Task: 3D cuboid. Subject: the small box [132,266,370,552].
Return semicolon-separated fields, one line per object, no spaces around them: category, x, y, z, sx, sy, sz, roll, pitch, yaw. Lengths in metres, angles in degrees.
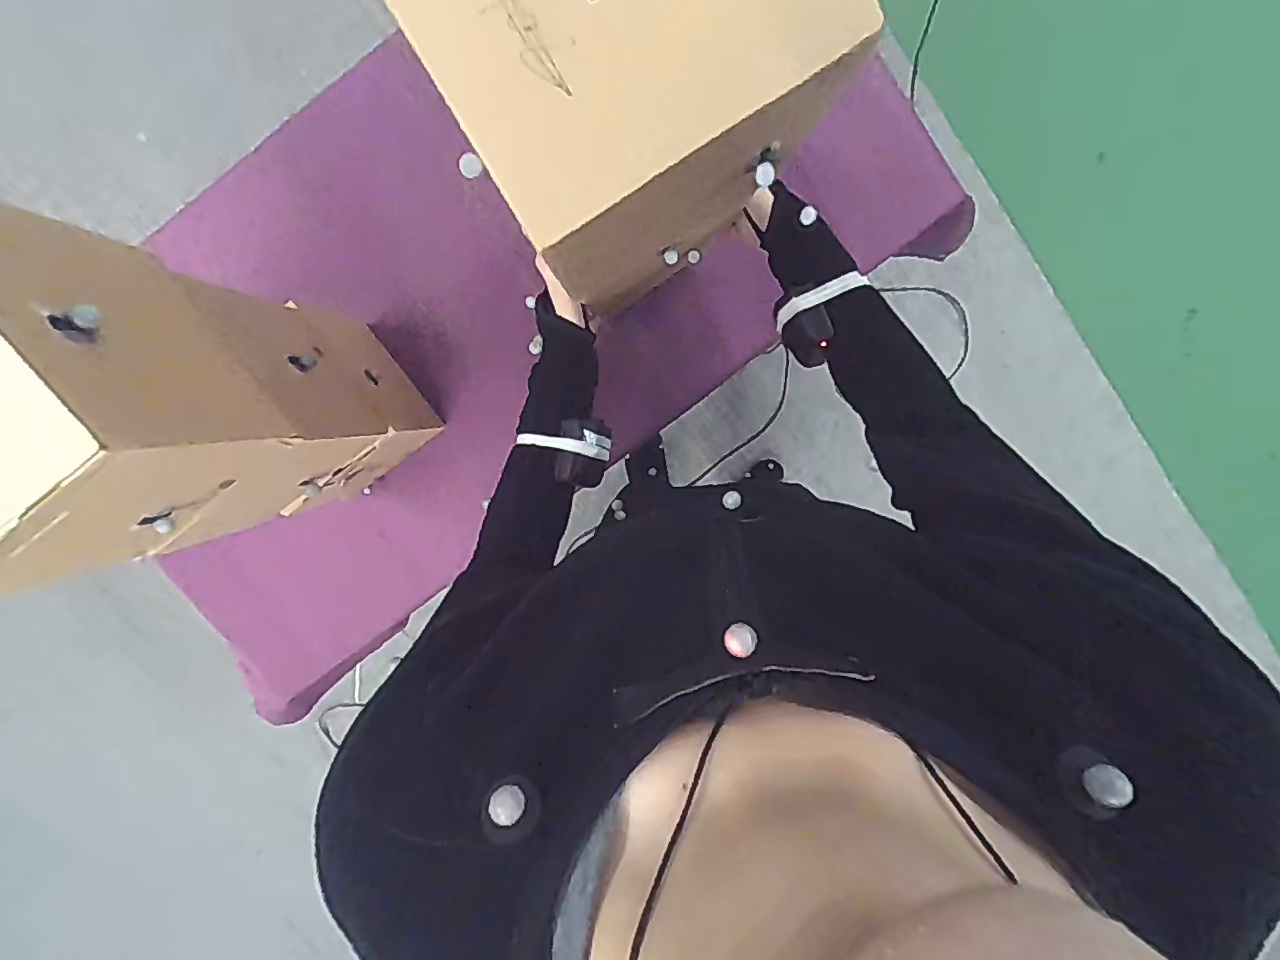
small box;-0.389;-0.064;0.509;0.179;0.176;0.168;-36;97;4

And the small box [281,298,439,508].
small box;-0.385;-0.093;0.672;0.168;0.176;0.179;-36;96;3

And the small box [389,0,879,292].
small box;-0.014;-0.228;0.297;0.179;0.176;0.168;-30;100;5

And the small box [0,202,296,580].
small box;-0.381;-0.050;0.347;0.168;0.176;0.179;-36;98;4

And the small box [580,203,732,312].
small box;-0.023;-0.313;0.614;0.179;0.176;0.168;-32;100;5
